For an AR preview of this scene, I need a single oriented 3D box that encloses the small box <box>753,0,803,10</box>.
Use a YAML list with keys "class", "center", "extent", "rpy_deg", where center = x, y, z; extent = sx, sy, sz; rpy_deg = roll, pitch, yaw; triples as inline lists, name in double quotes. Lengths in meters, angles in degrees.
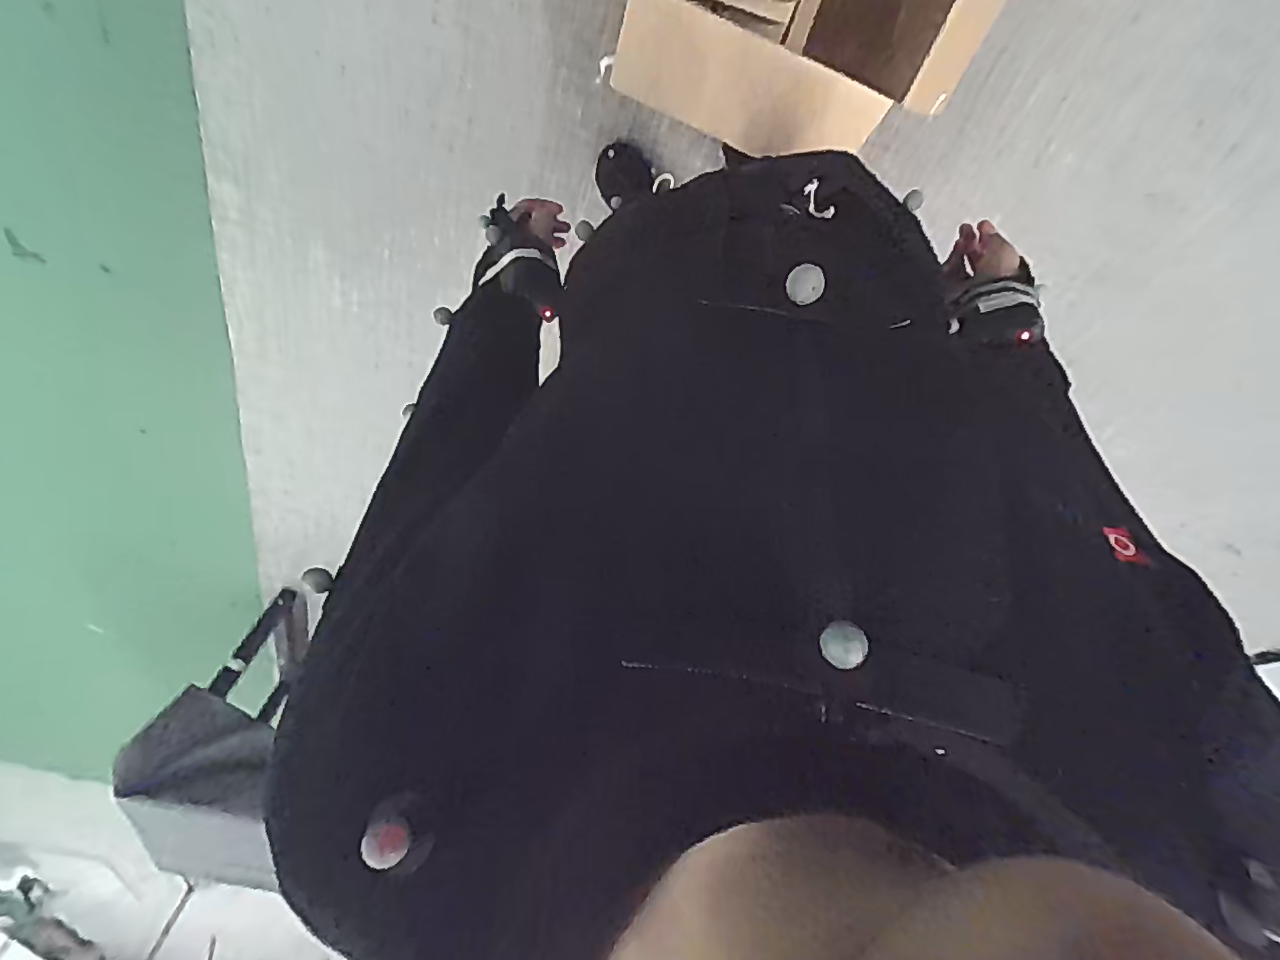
- class: "small box"
  center: [0.164, -0.737, 0.680]
  extent: [0.168, 0.176, 0.179]
  rpy_deg: [19, 128, -13]
